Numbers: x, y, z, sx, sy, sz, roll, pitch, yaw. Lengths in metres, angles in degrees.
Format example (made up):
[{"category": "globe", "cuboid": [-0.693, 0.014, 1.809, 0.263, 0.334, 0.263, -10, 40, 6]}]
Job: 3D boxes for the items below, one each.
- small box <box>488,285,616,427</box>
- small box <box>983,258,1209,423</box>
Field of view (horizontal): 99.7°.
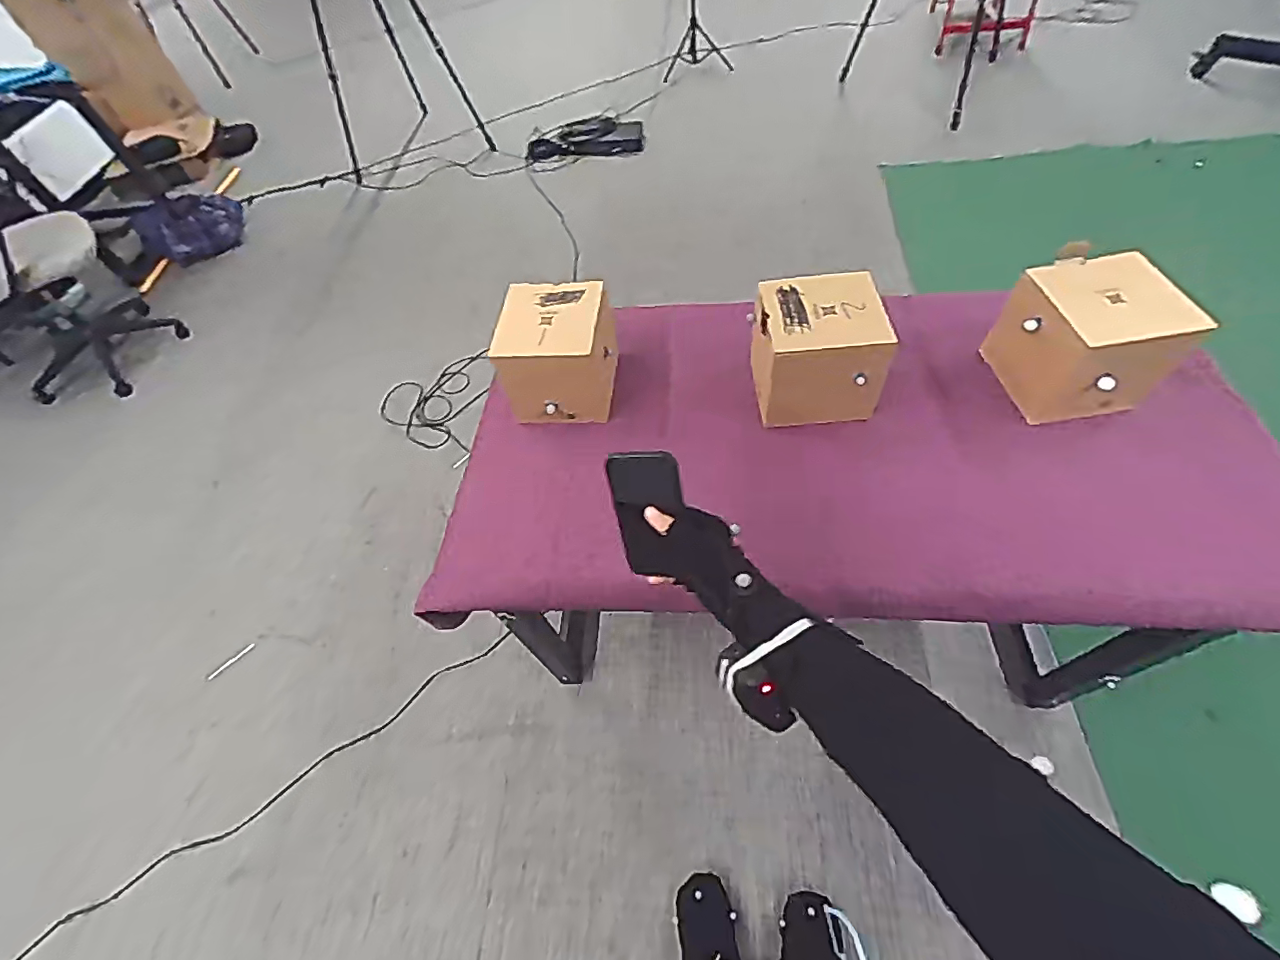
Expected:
[{"category": "small box", "cuboid": [-0.139, -0.212, 0.933, 0.168, 0.176, 0.179, 1, 58, 8]}, {"category": "small box", "cuboid": [0.667, -0.202, 0.822, 0.168, 0.176, 0.179, -9, 55, 2]}]
